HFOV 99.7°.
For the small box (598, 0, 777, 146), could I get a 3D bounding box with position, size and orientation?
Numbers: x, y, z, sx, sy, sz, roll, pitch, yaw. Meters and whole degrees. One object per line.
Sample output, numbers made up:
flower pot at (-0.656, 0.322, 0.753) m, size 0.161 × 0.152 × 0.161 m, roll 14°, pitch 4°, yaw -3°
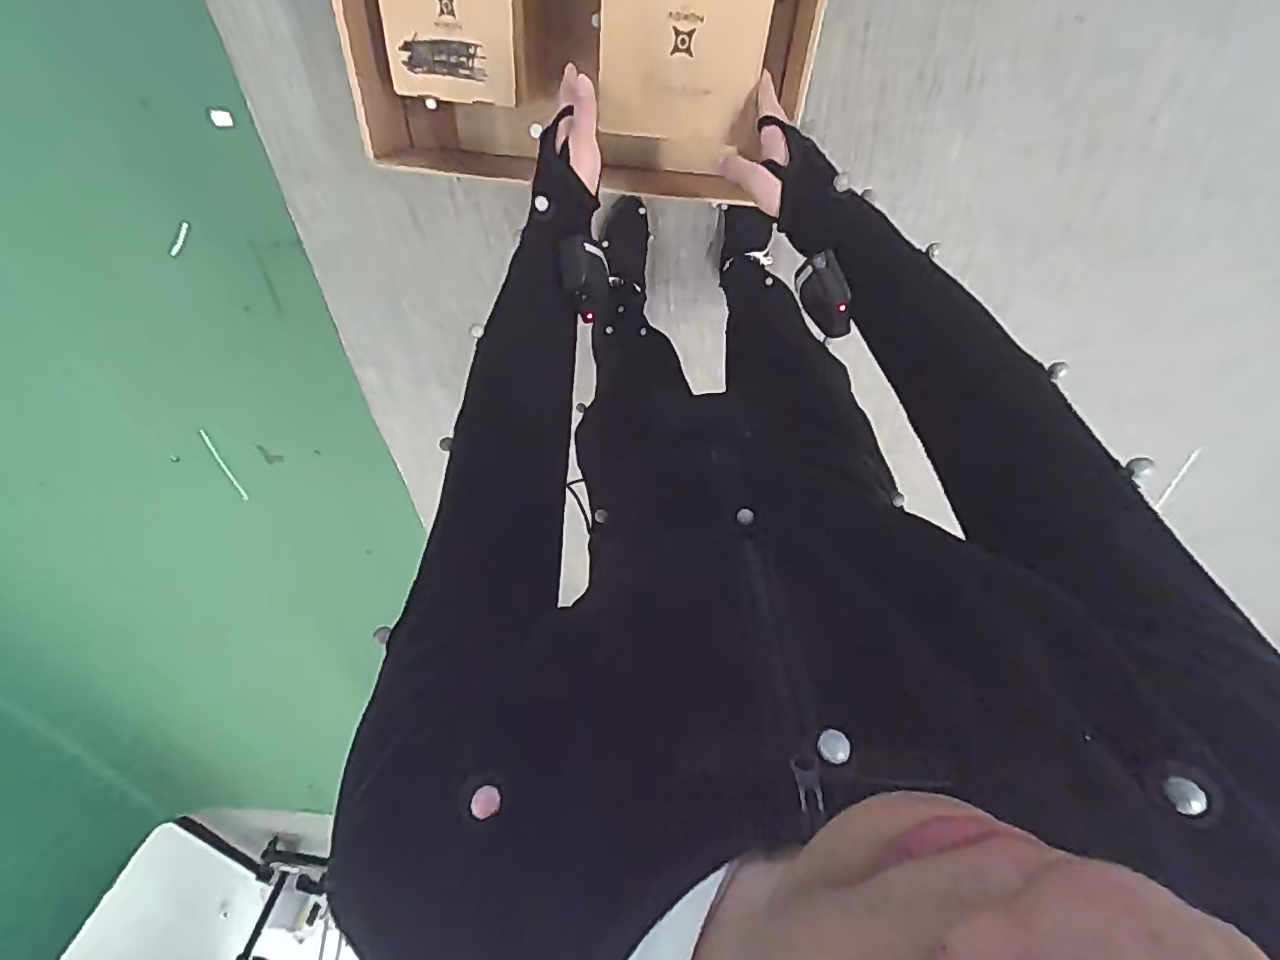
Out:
small box at (0.050, -0.486, 0.589) m, size 0.168 × 0.176 × 0.179 m, roll 8°, pitch 130°, yaw 1°
